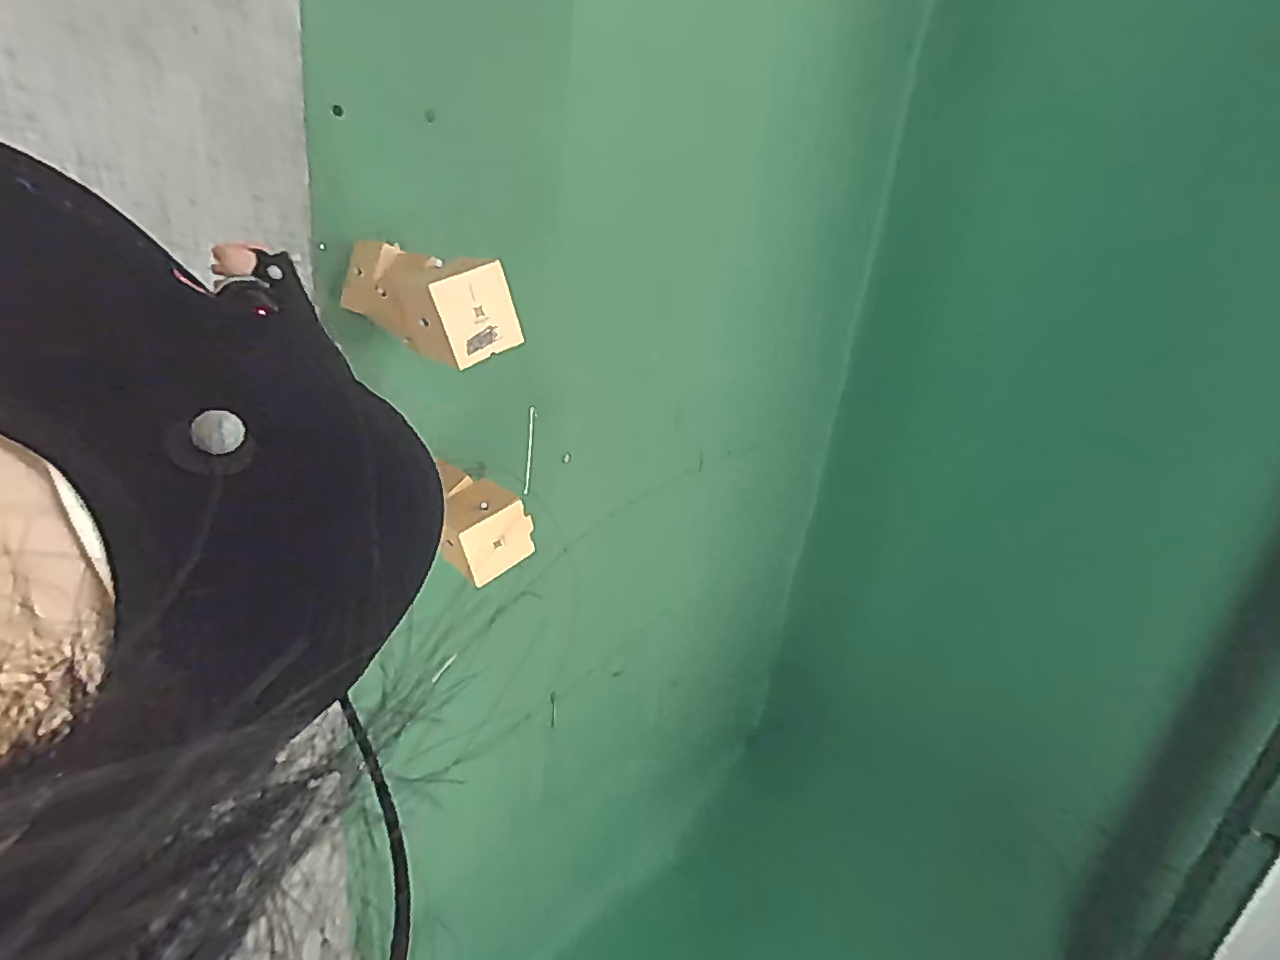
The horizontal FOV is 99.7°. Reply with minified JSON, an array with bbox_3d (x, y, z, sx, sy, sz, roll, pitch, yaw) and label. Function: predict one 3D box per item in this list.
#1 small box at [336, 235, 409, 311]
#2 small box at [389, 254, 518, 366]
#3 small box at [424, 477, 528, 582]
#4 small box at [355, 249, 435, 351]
[{"bbox_3d":[-0.617,-0.484,1.333,0.179,0.176,0.168,12,100,-51],"label":"small box"},{"bbox_3d":[-0.389,-0.362,1.132,0.168,0.176,0.179,-36,131,-32],"label":"small box"},{"bbox_3d":[-0.410,0.117,1.341,0.179,0.176,0.168,-33,131,-35],"label":"small box"},{"bbox_3d":[-0.509,-0.404,1.237,0.168,0.176,0.179,-57,141,-10],"label":"small box"}]
